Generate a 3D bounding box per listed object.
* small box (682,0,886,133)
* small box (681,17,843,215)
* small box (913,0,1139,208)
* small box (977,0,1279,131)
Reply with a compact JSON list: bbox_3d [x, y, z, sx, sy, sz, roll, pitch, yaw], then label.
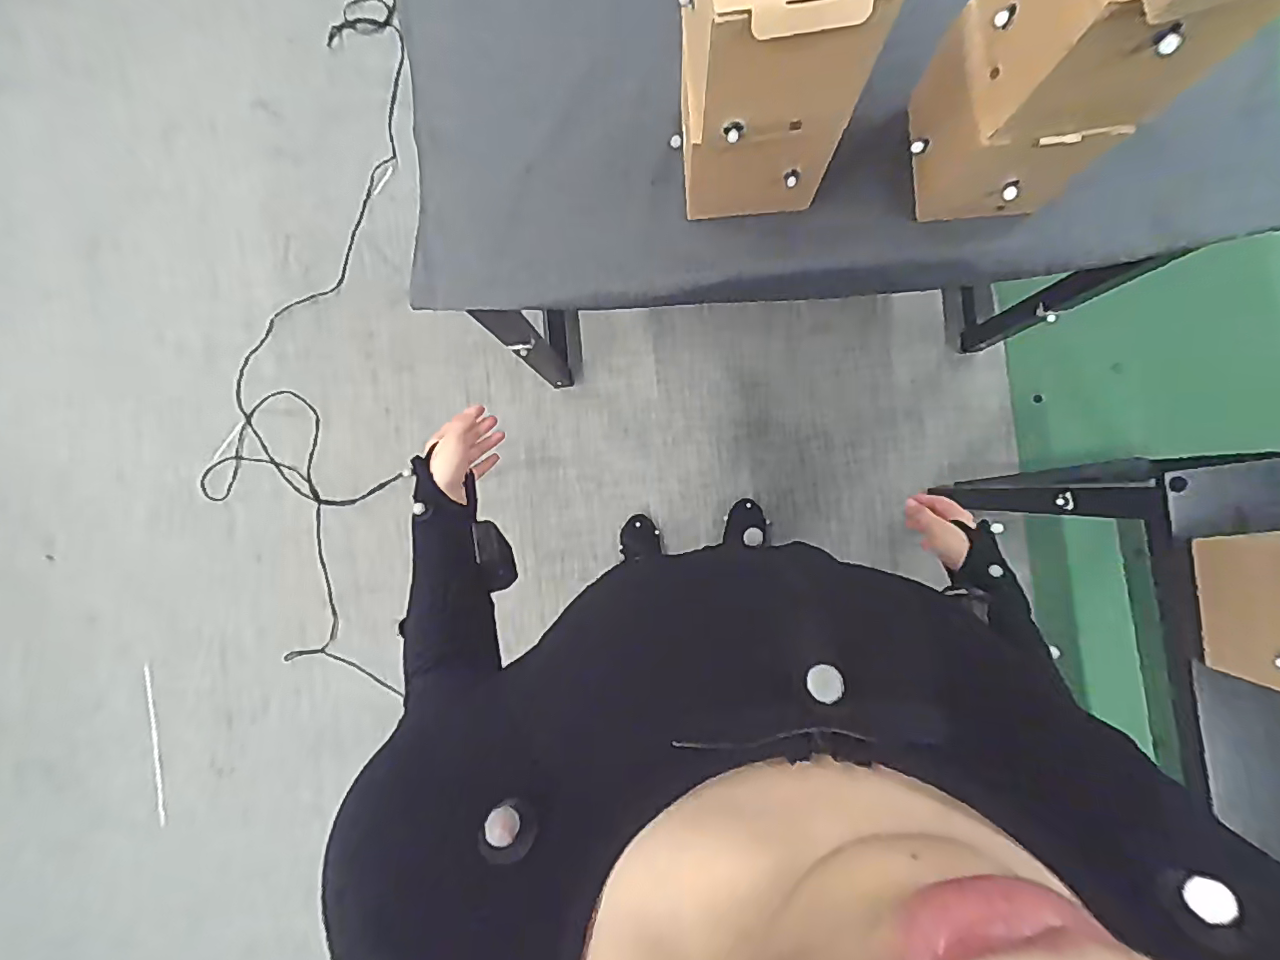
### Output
[{"bbox_3d":[0.131,-0.476,0.530,0.168,0.176,0.179,-7,86,3],"label":"small box"},{"bbox_3d":[0.144,-0.467,0.694,0.179,0.176,0.168,-4,87,5],"label":"small box"},{"bbox_3d":[0.458,-0.459,0.669,0.168,0.176,0.179,-3,88,5],"label":"small box"},{"bbox_3d":[0.456,-0.467,0.506,0.179,0.176,0.168,-5,87,5],"label":"small box"}]
